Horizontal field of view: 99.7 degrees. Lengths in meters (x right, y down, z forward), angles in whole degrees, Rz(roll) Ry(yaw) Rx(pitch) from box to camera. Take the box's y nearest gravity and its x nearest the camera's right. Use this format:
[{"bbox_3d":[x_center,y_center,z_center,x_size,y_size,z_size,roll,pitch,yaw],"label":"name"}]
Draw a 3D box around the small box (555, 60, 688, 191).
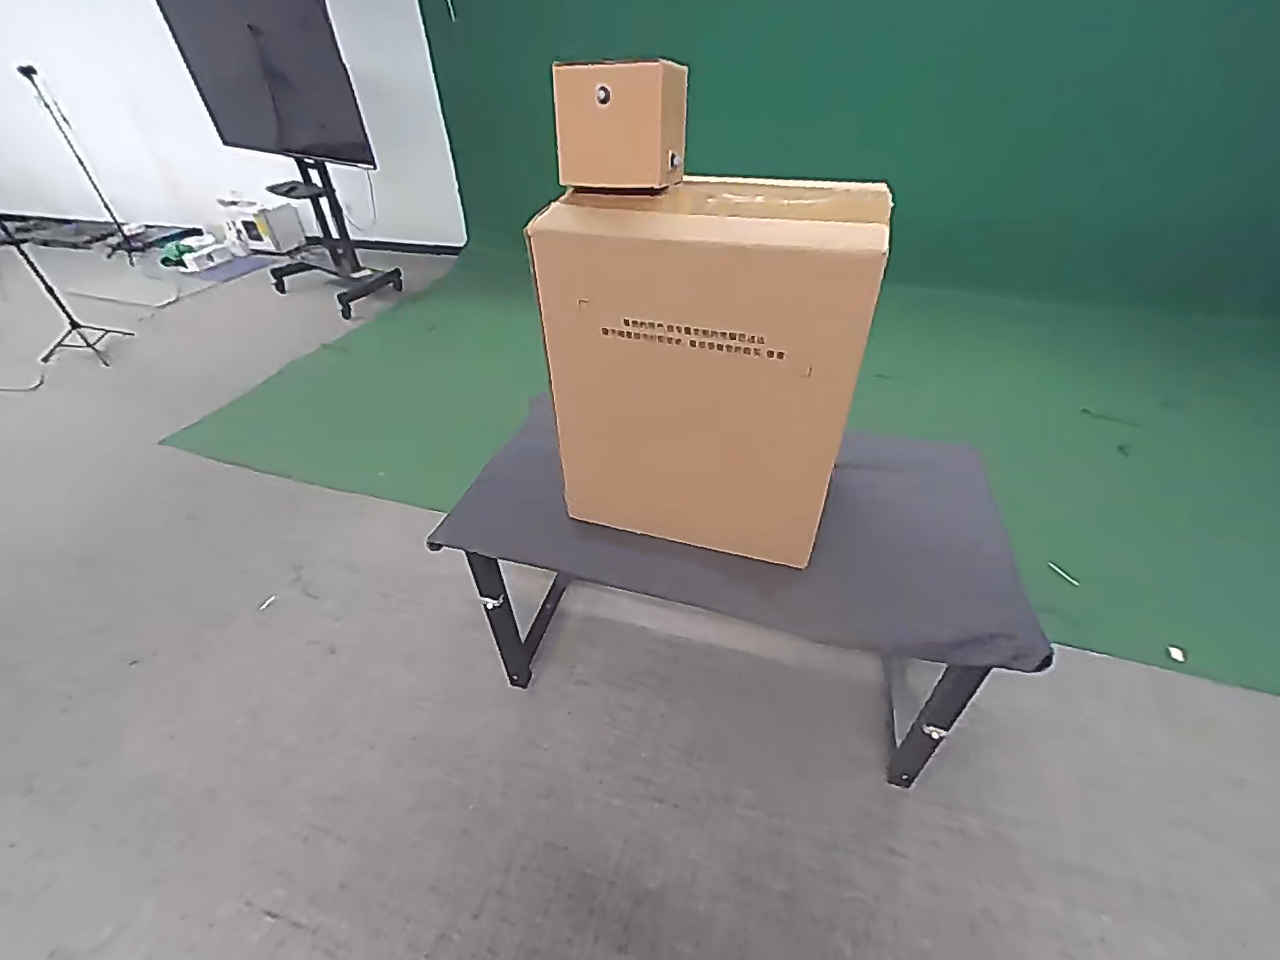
[{"bbox_3d":[-0.027,-0.583,0.901,0.179,0.176,0.168,11,35,12],"label":"small box"}]
